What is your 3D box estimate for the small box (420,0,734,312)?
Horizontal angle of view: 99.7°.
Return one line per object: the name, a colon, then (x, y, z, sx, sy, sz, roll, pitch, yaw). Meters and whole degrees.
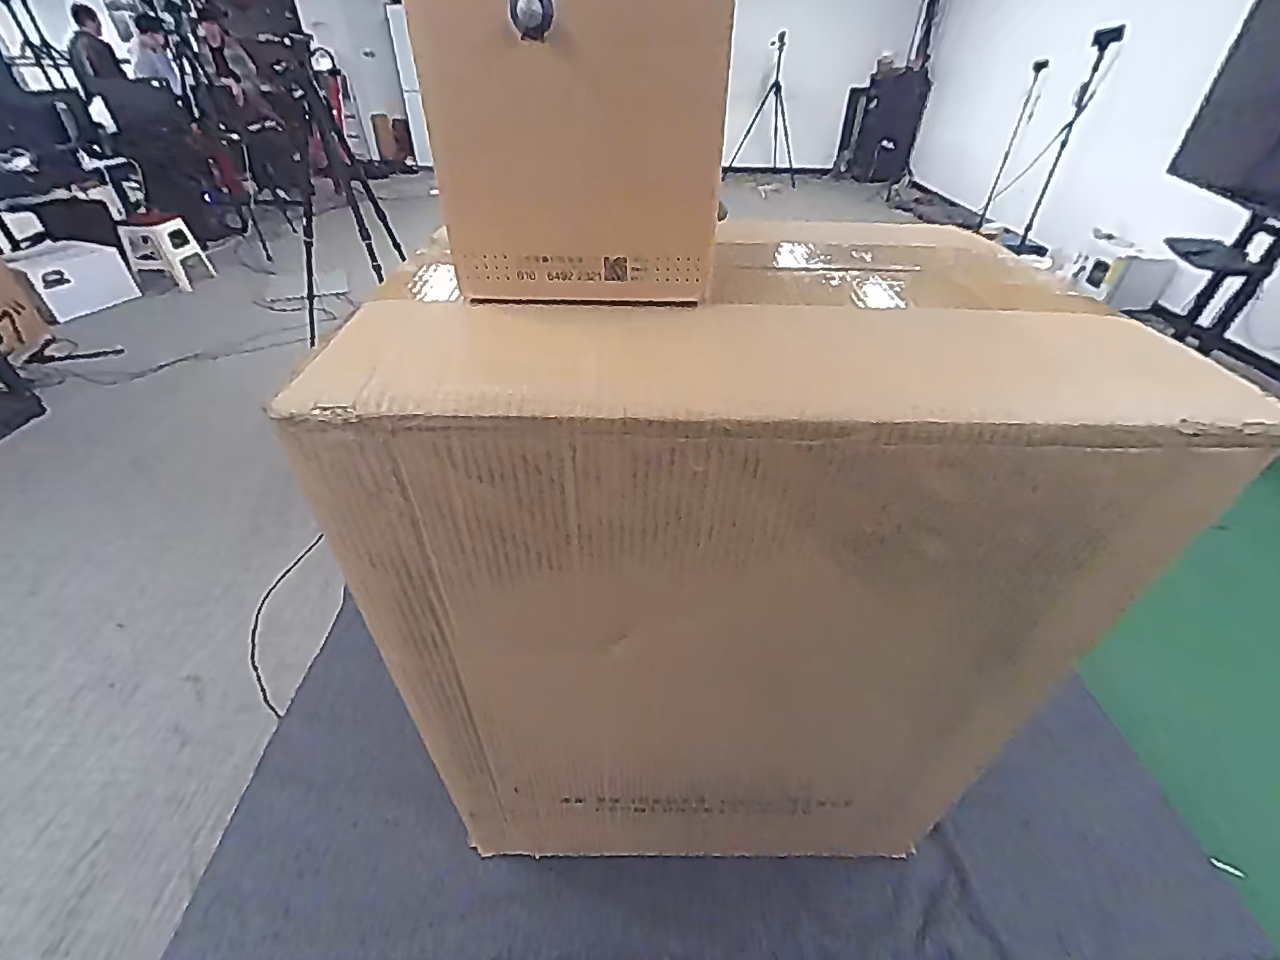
small box: (-0.033, -0.231, 0.384, 0.168, 0.176, 0.179, 1, 36, 0)
